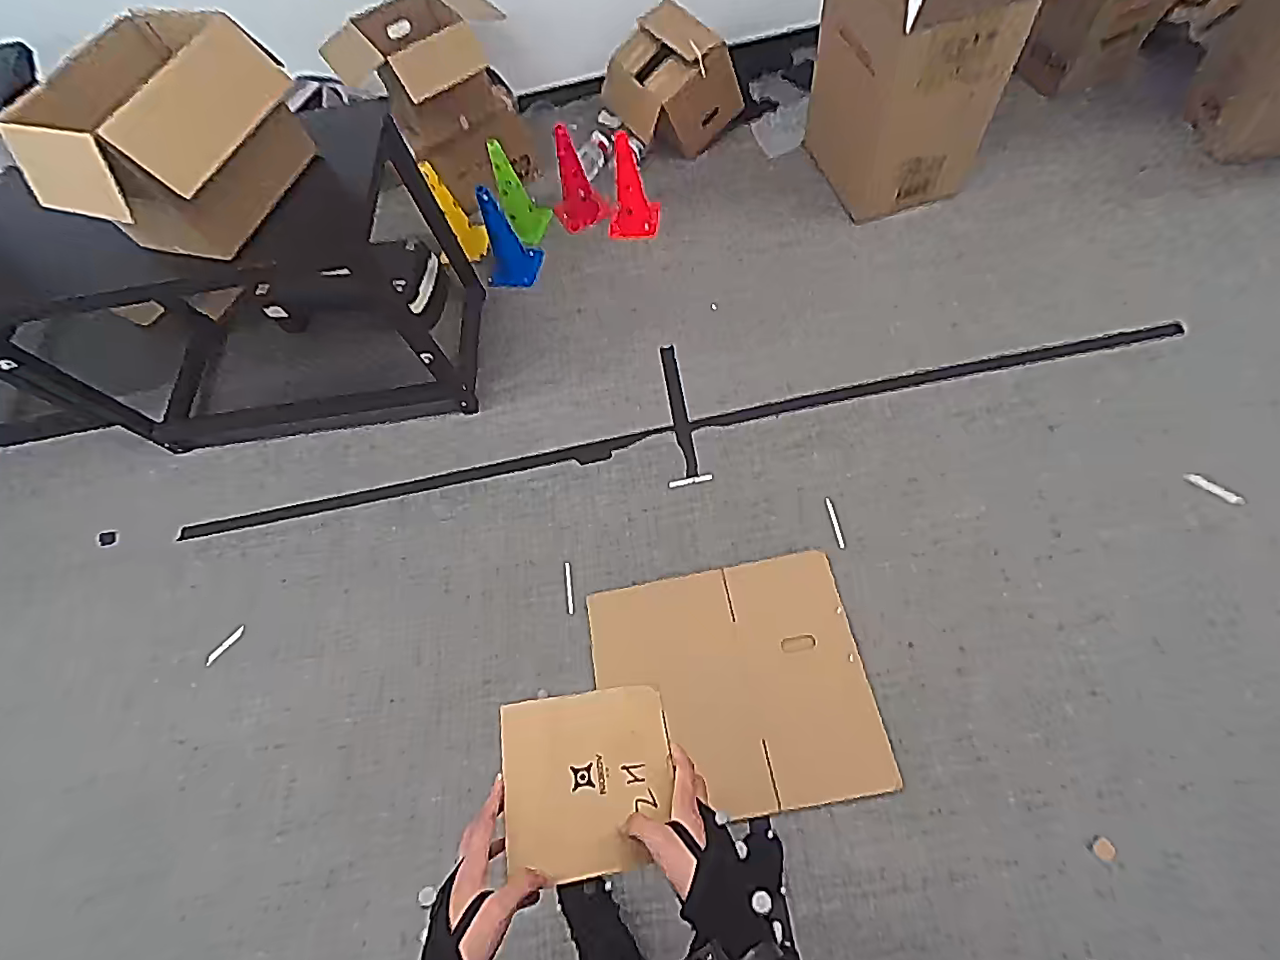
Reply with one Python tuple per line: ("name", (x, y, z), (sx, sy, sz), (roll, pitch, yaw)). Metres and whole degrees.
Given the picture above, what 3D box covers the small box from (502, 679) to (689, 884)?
("small box", (-0.058, 0.341, 0.615), (0.179, 0.176, 0.168), (-4, 58, -12))
